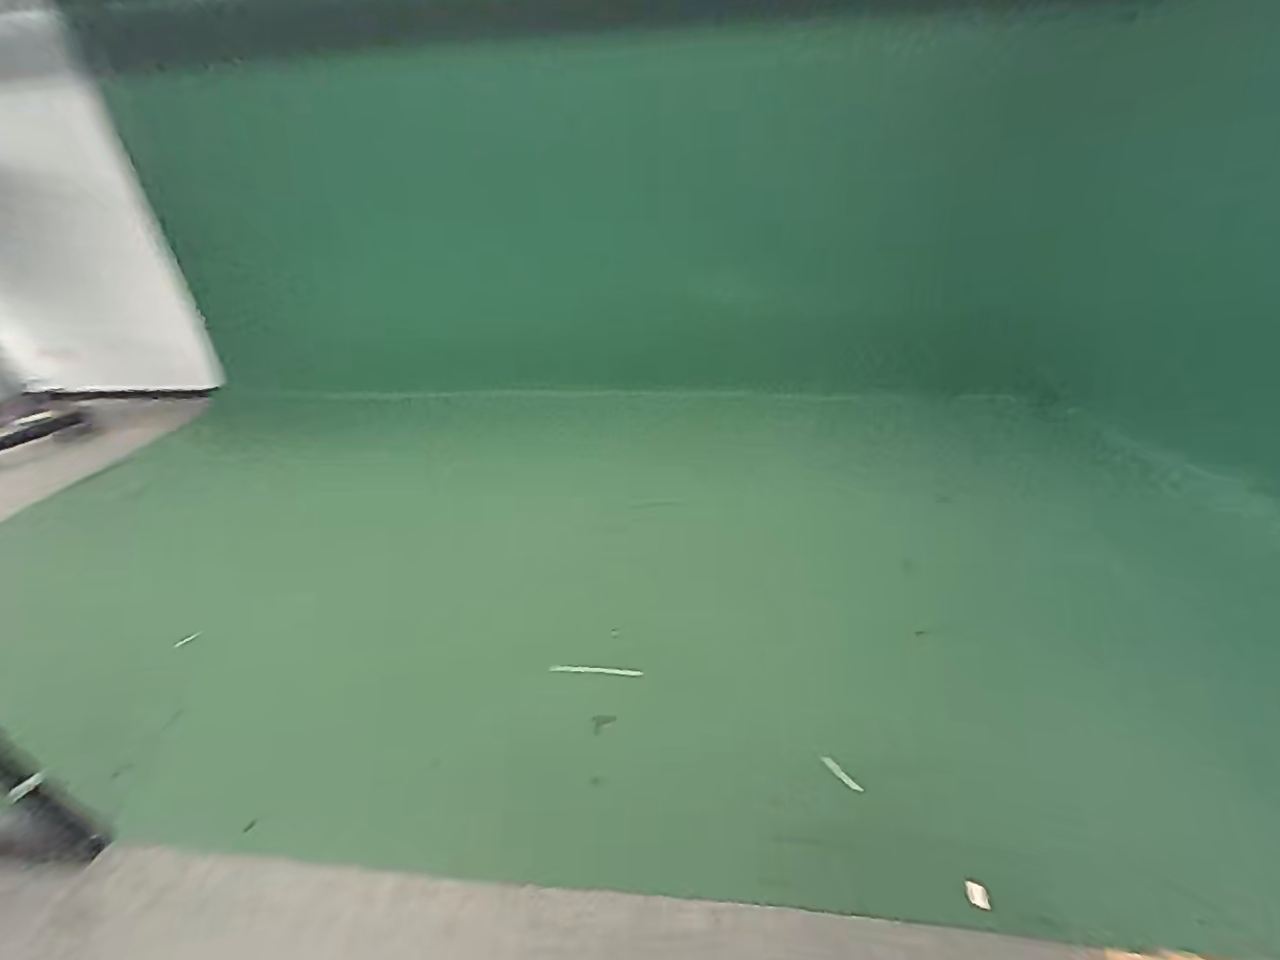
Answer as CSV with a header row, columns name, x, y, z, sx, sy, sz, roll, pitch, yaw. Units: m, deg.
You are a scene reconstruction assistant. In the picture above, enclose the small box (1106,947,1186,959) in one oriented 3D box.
name,x,y,z,sx,sy,sz,roll,pitch,yaw
small box,0.590,0.640,0.564,0.168,0.176,0.179,2,33,8
